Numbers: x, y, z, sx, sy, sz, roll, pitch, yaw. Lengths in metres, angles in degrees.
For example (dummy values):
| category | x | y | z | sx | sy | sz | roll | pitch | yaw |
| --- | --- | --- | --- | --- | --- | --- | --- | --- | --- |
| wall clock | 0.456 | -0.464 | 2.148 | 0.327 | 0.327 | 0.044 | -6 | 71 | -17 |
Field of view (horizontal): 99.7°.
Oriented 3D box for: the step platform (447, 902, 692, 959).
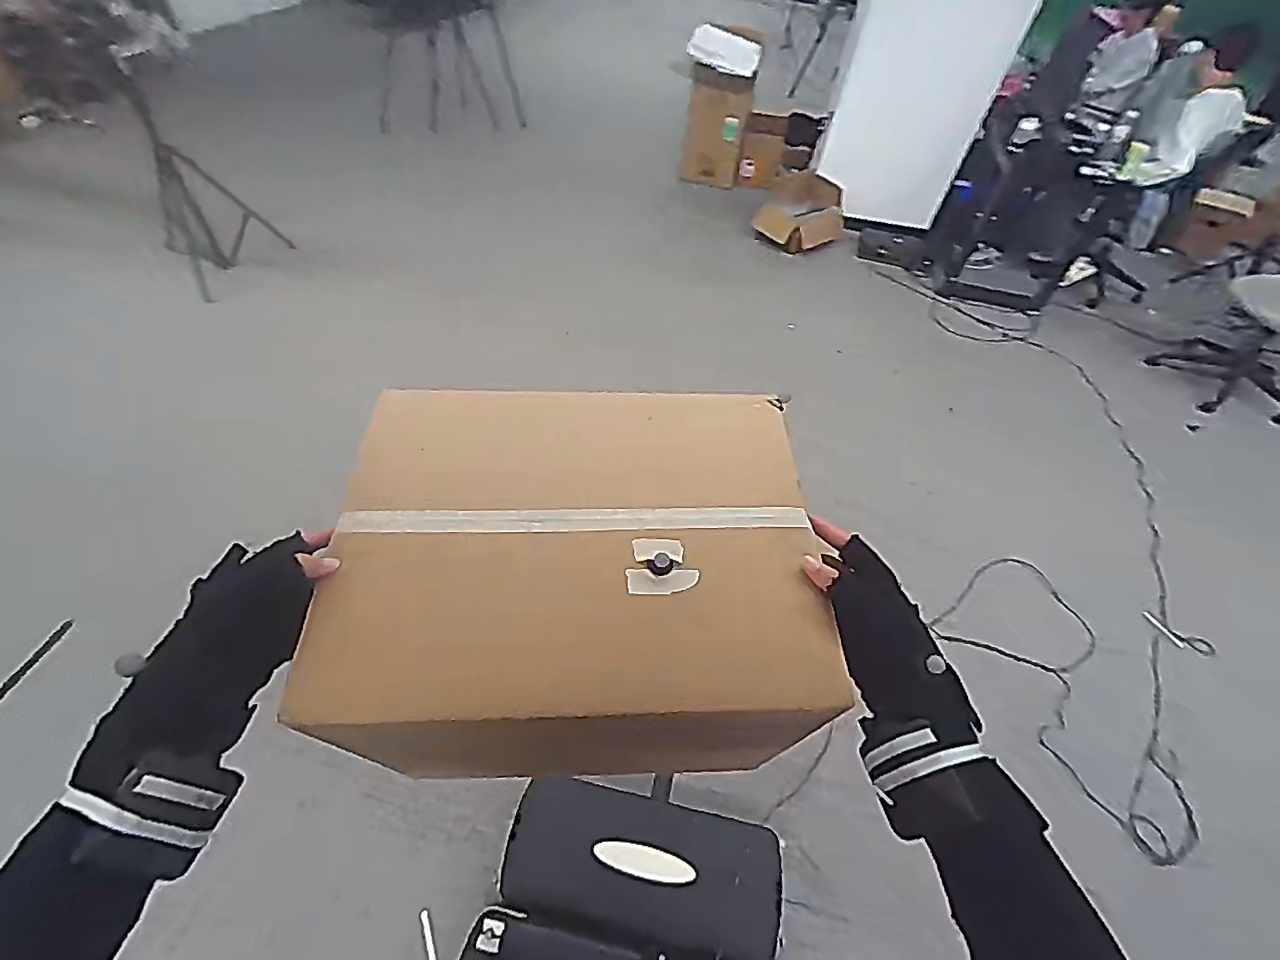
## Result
| category | x | y | z | sx | sy | sz | roll | pitch | yaw |
| --- | --- | --- | --- | --- | --- | --- | --- | --- | --- |
| step platform | -0.085 | 1.124 | 1.112 | 0.684 | 0.204 | 0.286 | 11 | 50 | 5 |

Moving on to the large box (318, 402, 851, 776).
| category | x | y | z | sx | sy | sz | roll | pitch | yaw |
| --- | --- | --- | --- | --- | --- | --- | --- | --- | --- |
| large box | -0.051 | 0.129 | 0.604 | 0.408 | 0.320 | 0.320 | 0 | 55 | -4 |
